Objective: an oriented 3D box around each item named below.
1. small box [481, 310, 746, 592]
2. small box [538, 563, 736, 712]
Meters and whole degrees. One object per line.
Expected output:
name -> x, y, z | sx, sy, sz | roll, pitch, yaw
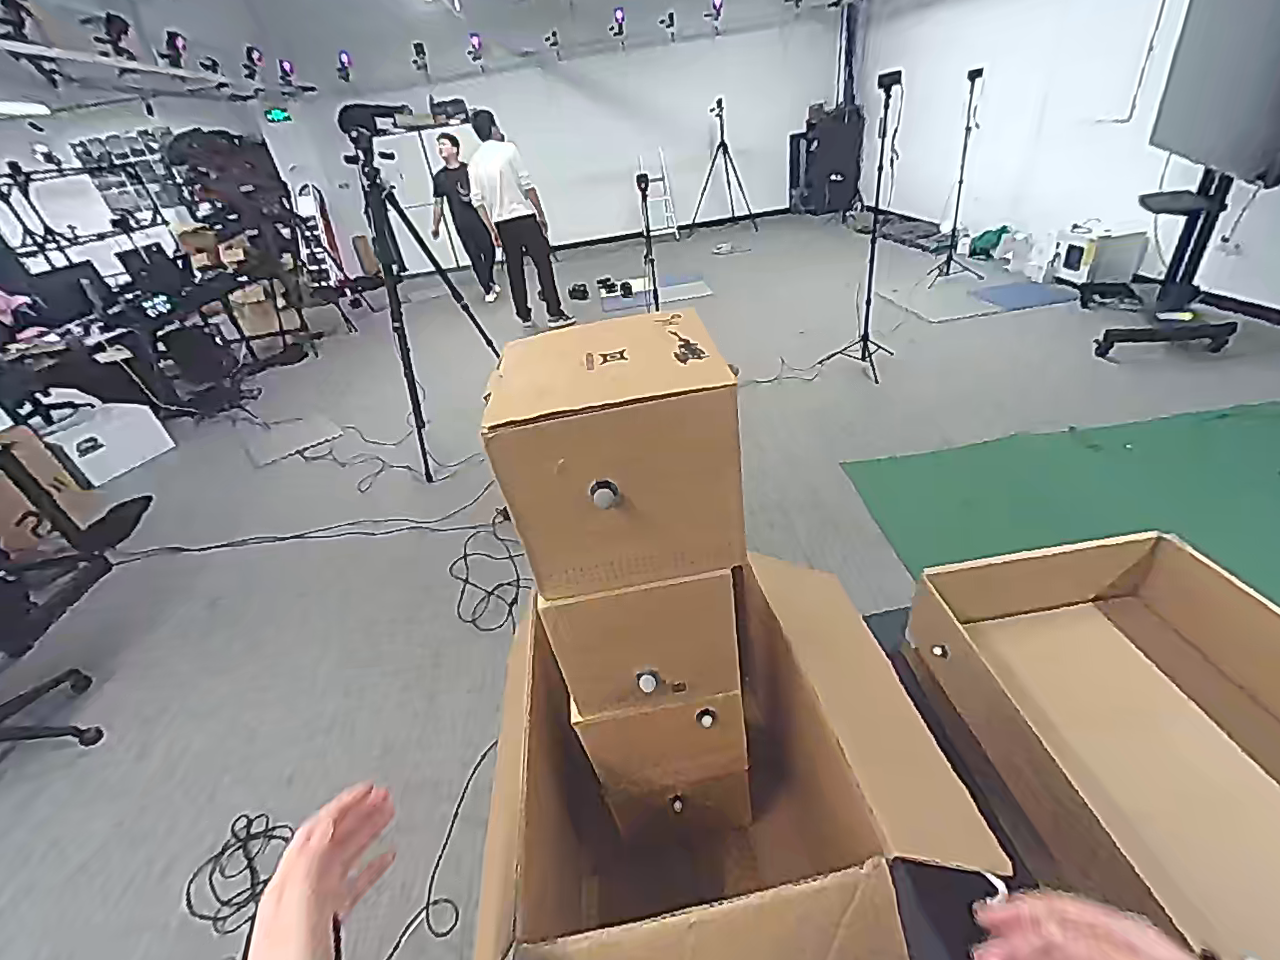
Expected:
small box -> -0.015, -0.025, 0.467 | 0.179, 0.176, 0.168 | -11, 36, 1
small box -> -0.001, 0.108, 0.563 | 0.168, 0.176, 0.179 | -10, 37, 1
